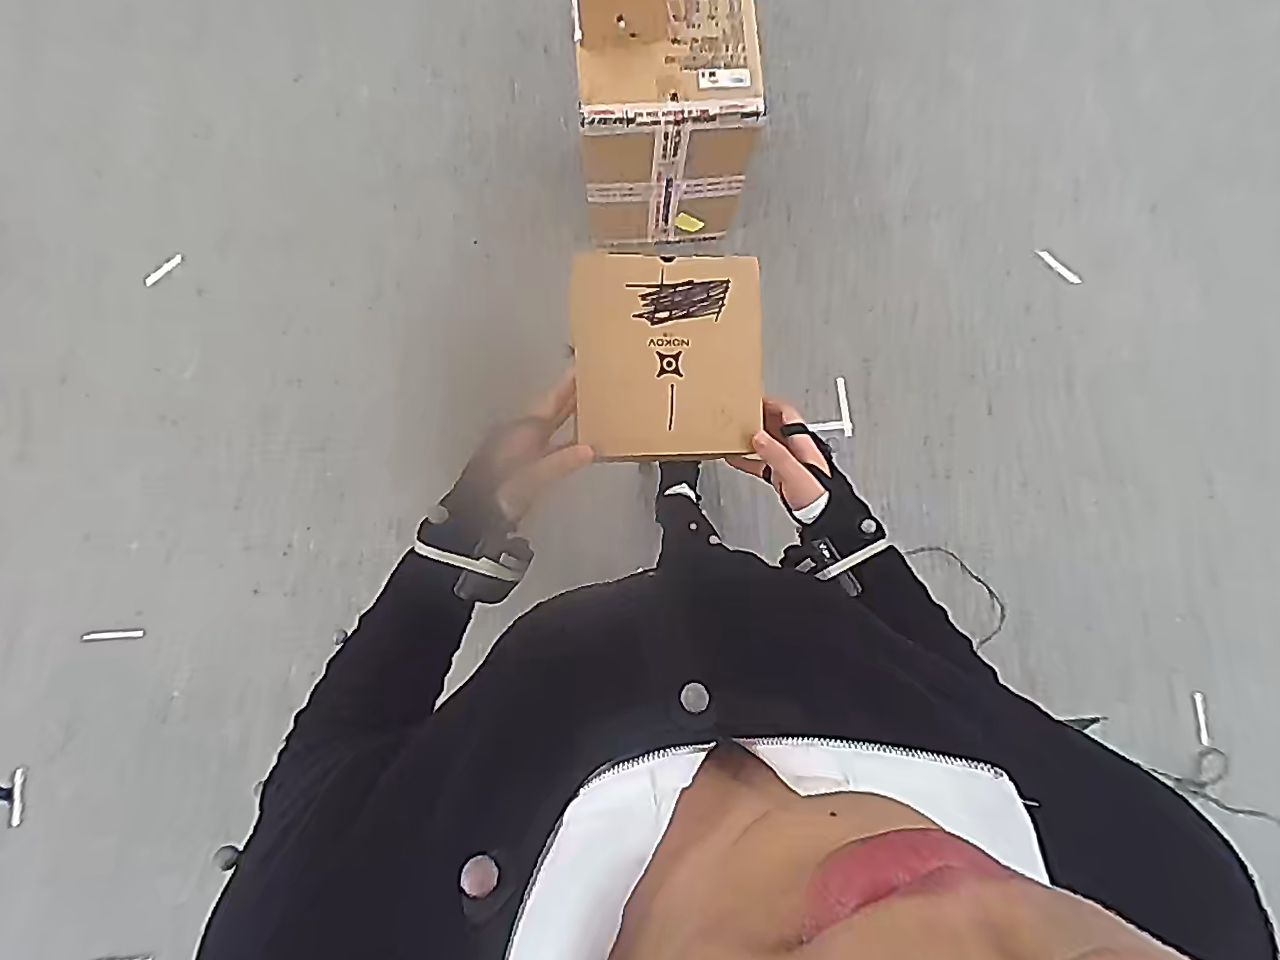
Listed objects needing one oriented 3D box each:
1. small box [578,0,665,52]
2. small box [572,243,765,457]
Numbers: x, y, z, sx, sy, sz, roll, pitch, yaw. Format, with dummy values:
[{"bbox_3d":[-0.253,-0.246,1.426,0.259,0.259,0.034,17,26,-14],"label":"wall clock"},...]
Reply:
[{"bbox_3d":[-0.044,-0.984,1.044,0.168,0.176,0.179,-8,87,0],"label":"small box"},{"bbox_3d":[0.017,-0.115,0.546,0.168,0.176,0.179,-2,91,-8],"label":"small box"}]
